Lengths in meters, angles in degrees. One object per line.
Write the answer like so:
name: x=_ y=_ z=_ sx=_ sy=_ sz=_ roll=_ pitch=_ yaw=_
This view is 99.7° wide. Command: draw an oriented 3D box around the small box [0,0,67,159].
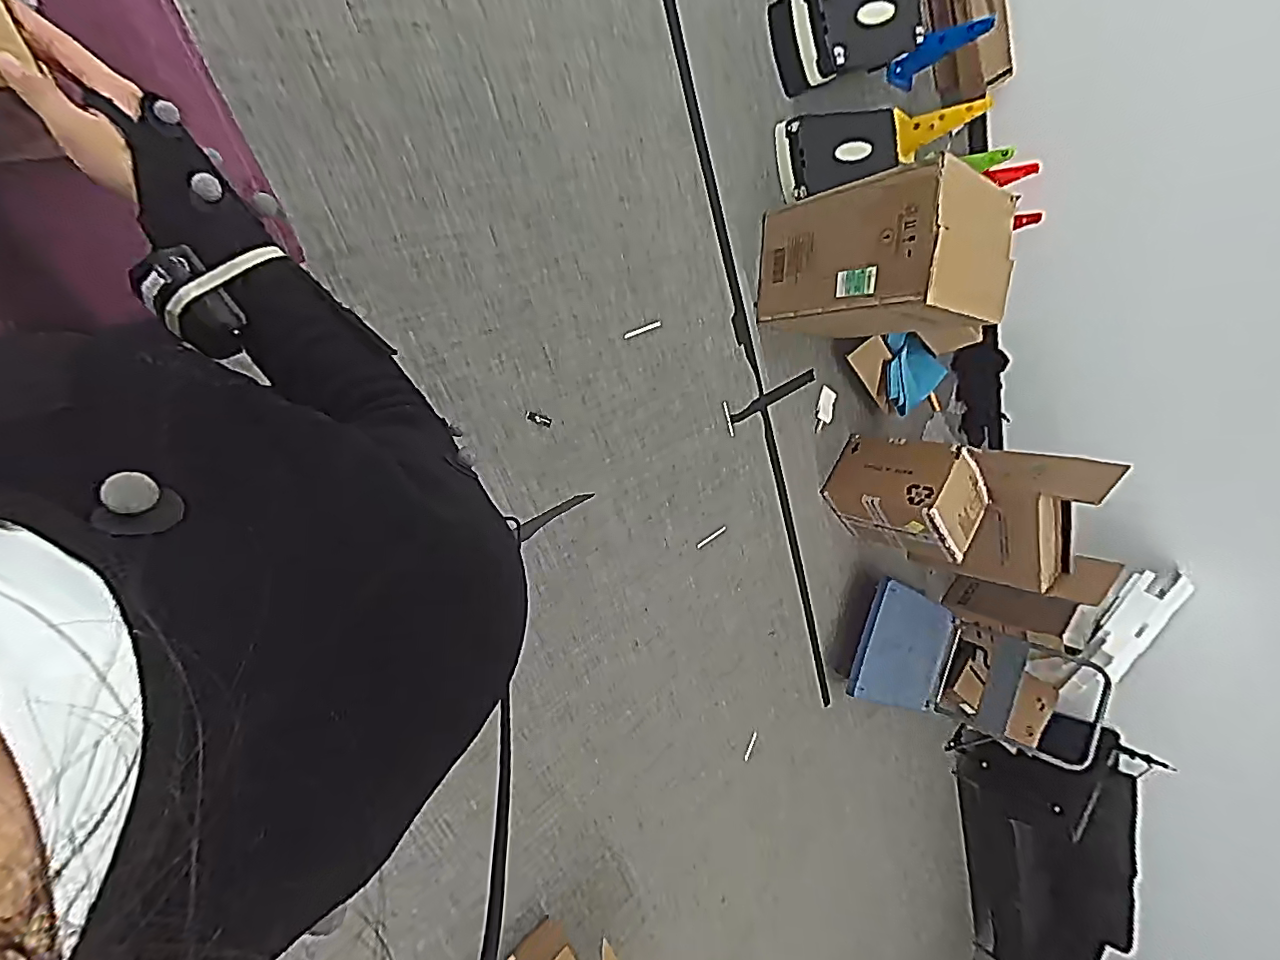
small box: x=-0.503 y=-0.301 z=0.324 sx=0.179 sy=0.176 sz=0.168 roll=-27 pitch=118 yaw=-31
